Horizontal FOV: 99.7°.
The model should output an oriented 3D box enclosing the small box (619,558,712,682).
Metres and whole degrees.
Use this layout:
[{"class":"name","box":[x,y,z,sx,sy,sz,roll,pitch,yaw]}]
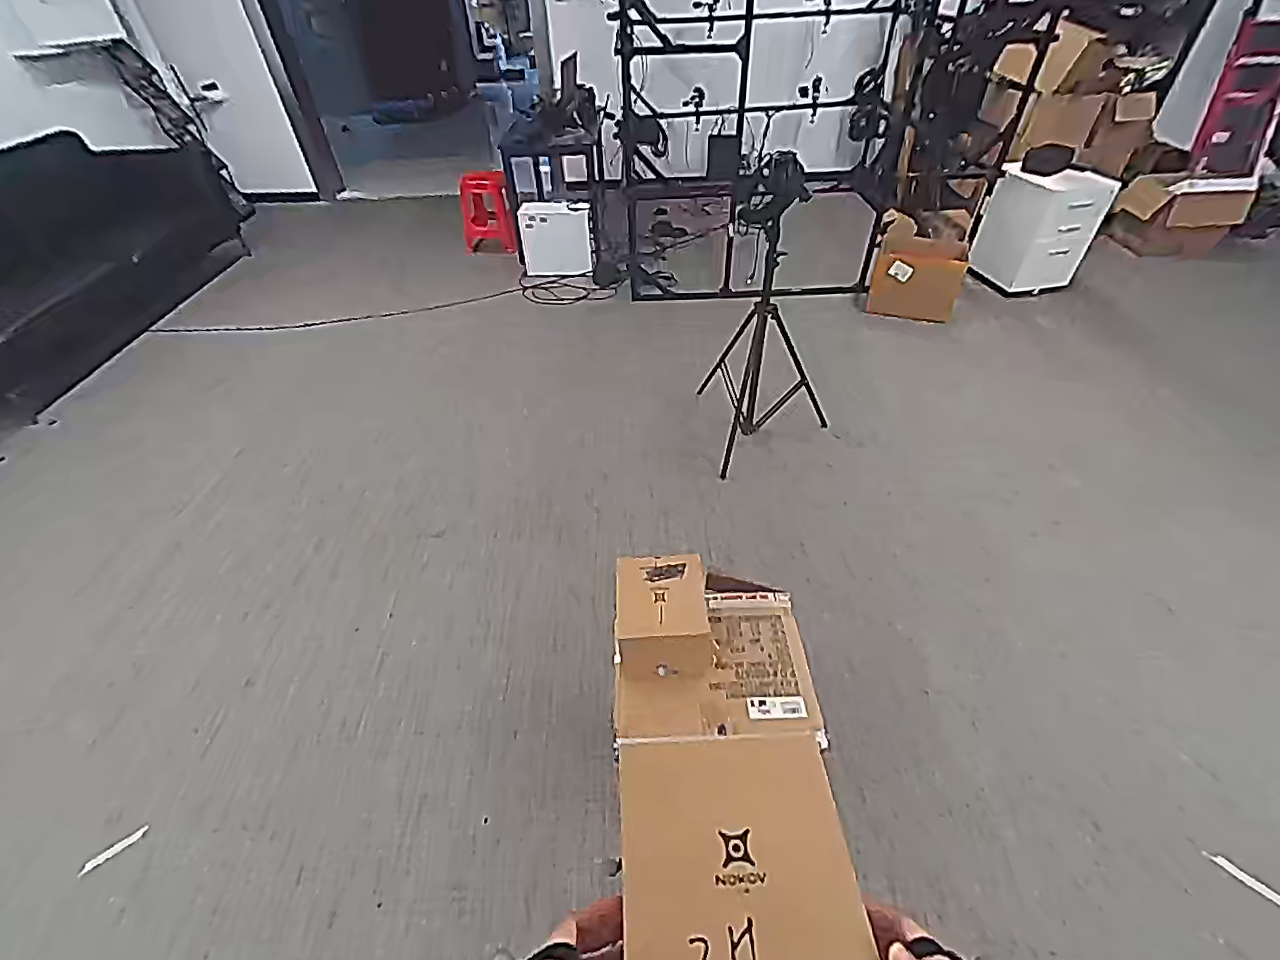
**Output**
[{"class":"small box","box":[0.047,0.275,1.060,0.168,0.176,0.179,-4,46,2]}]
